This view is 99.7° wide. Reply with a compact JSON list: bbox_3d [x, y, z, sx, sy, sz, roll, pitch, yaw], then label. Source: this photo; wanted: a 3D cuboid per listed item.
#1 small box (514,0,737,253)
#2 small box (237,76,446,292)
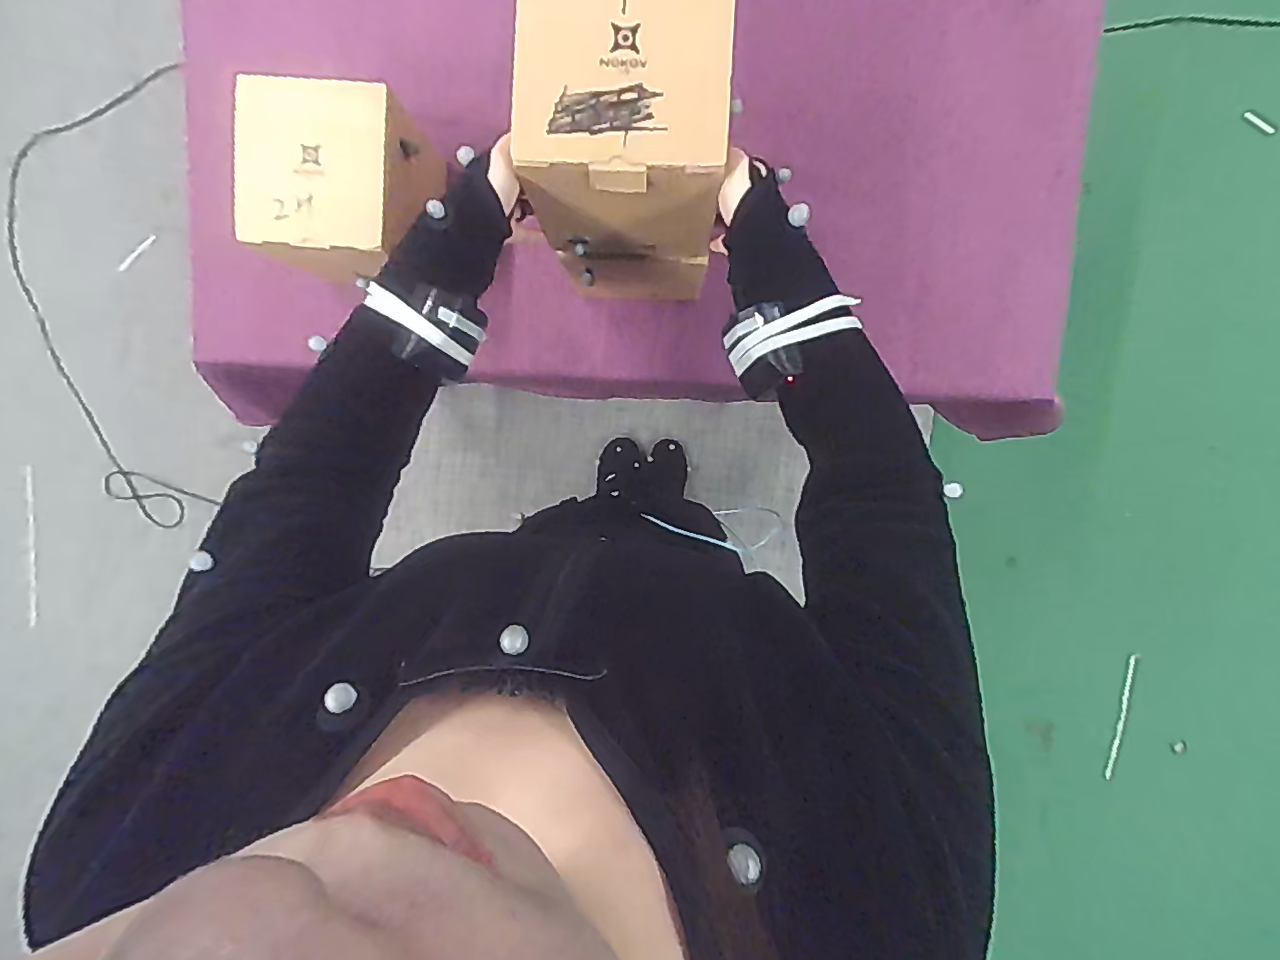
[{"bbox_3d":[-0.007,-0.322,0.485,0.168,0.176,0.179,3,90,2],"label":"small box"},{"bbox_3d":[-0.350,-0.347,0.664,0.168,0.176,0.179,5,96,1],"label":"small box"}]
